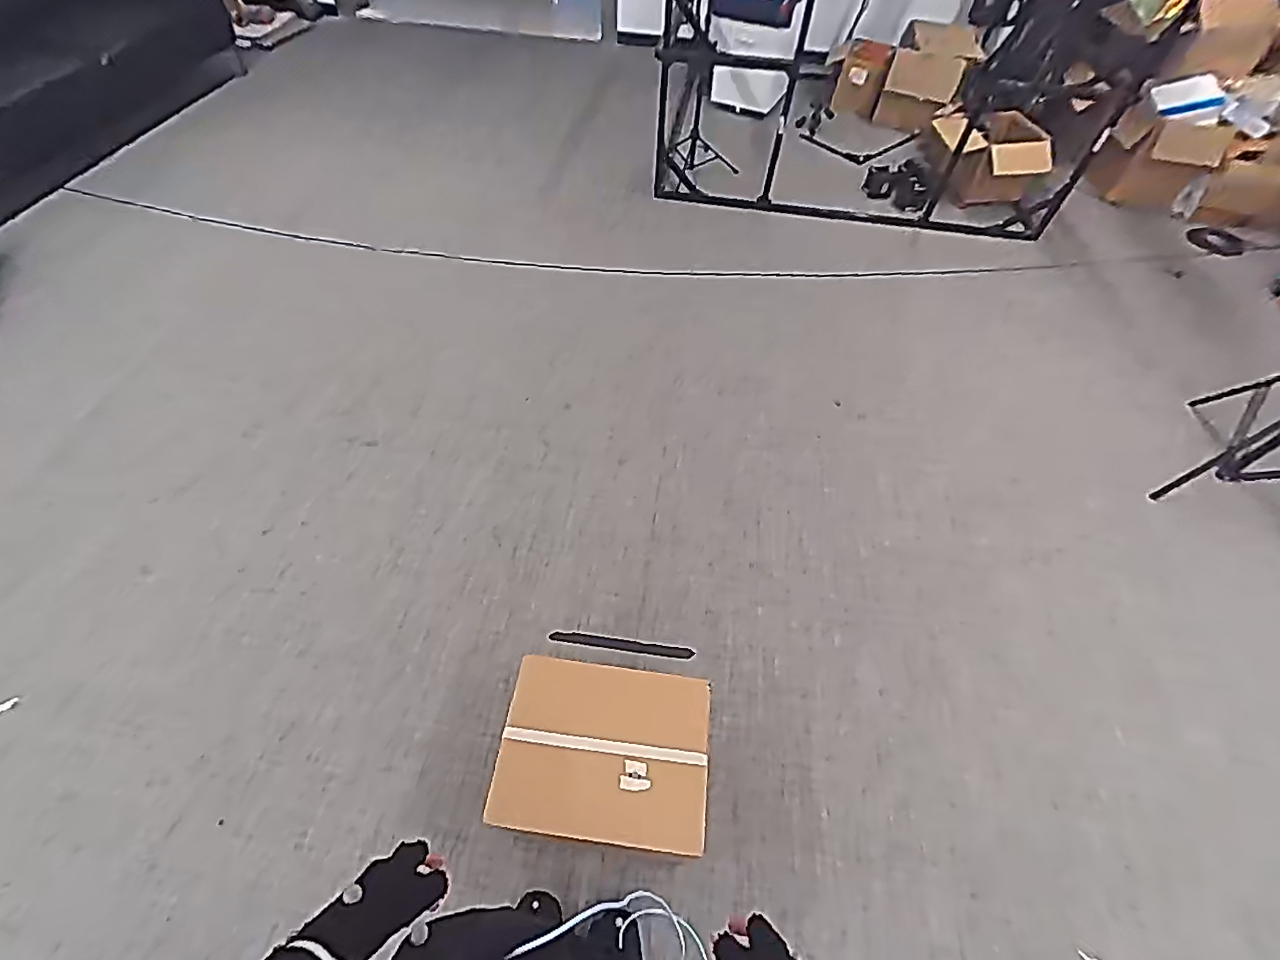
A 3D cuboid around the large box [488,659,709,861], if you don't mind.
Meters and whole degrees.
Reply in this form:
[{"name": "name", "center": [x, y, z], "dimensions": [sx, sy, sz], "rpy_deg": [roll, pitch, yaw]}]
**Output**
[{"name": "large box", "center": [-0.076, 0.619, 1.184], "dimensions": [0.408, 0.320, 0.320], "rpy_deg": [8, 54, 2]}]
